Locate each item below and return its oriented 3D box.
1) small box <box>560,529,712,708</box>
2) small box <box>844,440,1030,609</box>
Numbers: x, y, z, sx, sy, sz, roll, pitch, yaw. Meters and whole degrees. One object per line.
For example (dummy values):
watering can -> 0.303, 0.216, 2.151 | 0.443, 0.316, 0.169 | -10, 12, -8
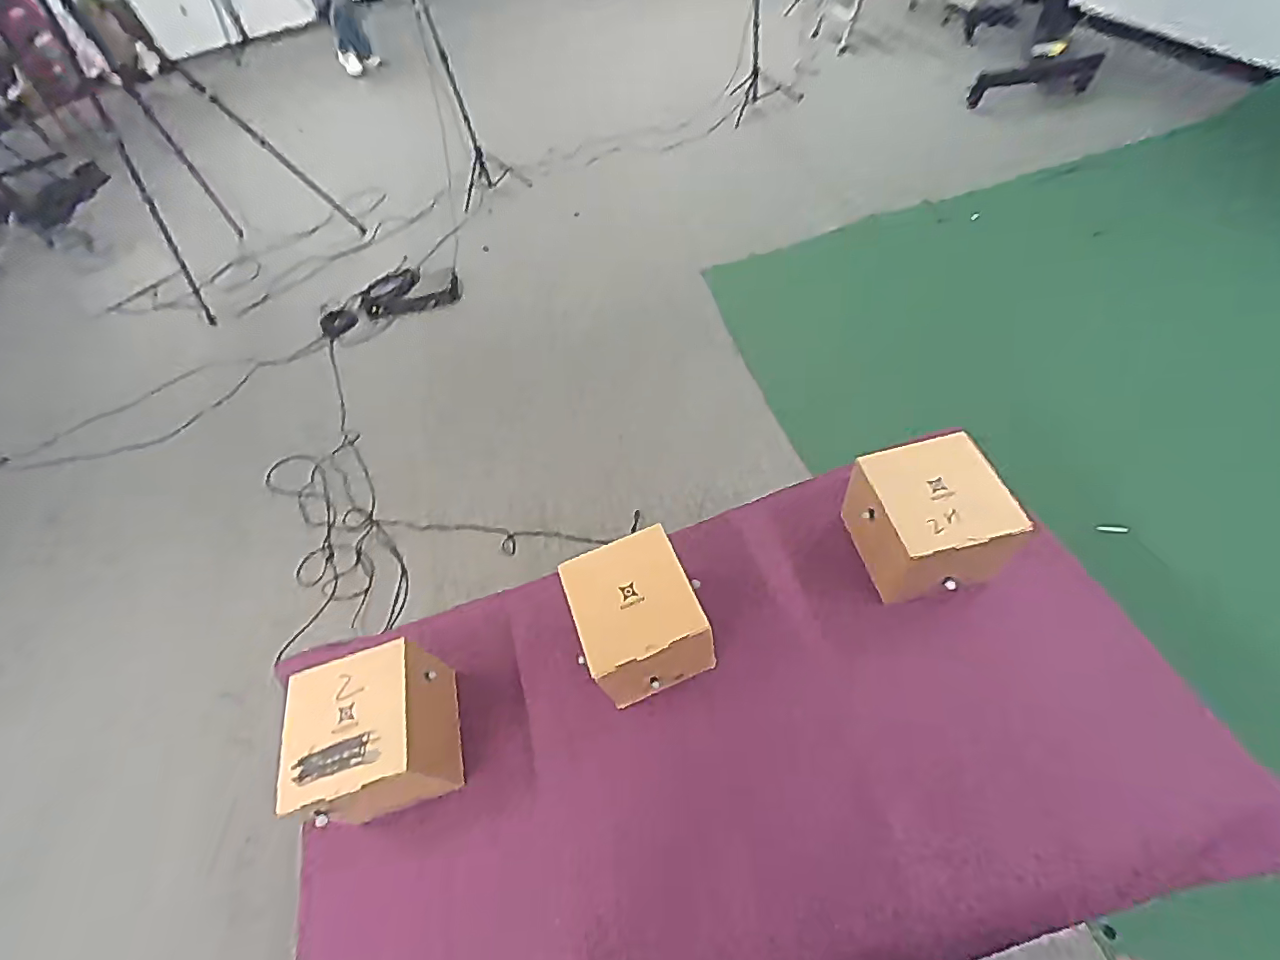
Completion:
small box -> -0.002, 0.208, 0.802 | 0.168, 0.176, 0.179 | -22, 55, -6
small box -> 0.428, 0.071, 0.820 | 0.168, 0.176, 0.179 | -14, 54, 1
